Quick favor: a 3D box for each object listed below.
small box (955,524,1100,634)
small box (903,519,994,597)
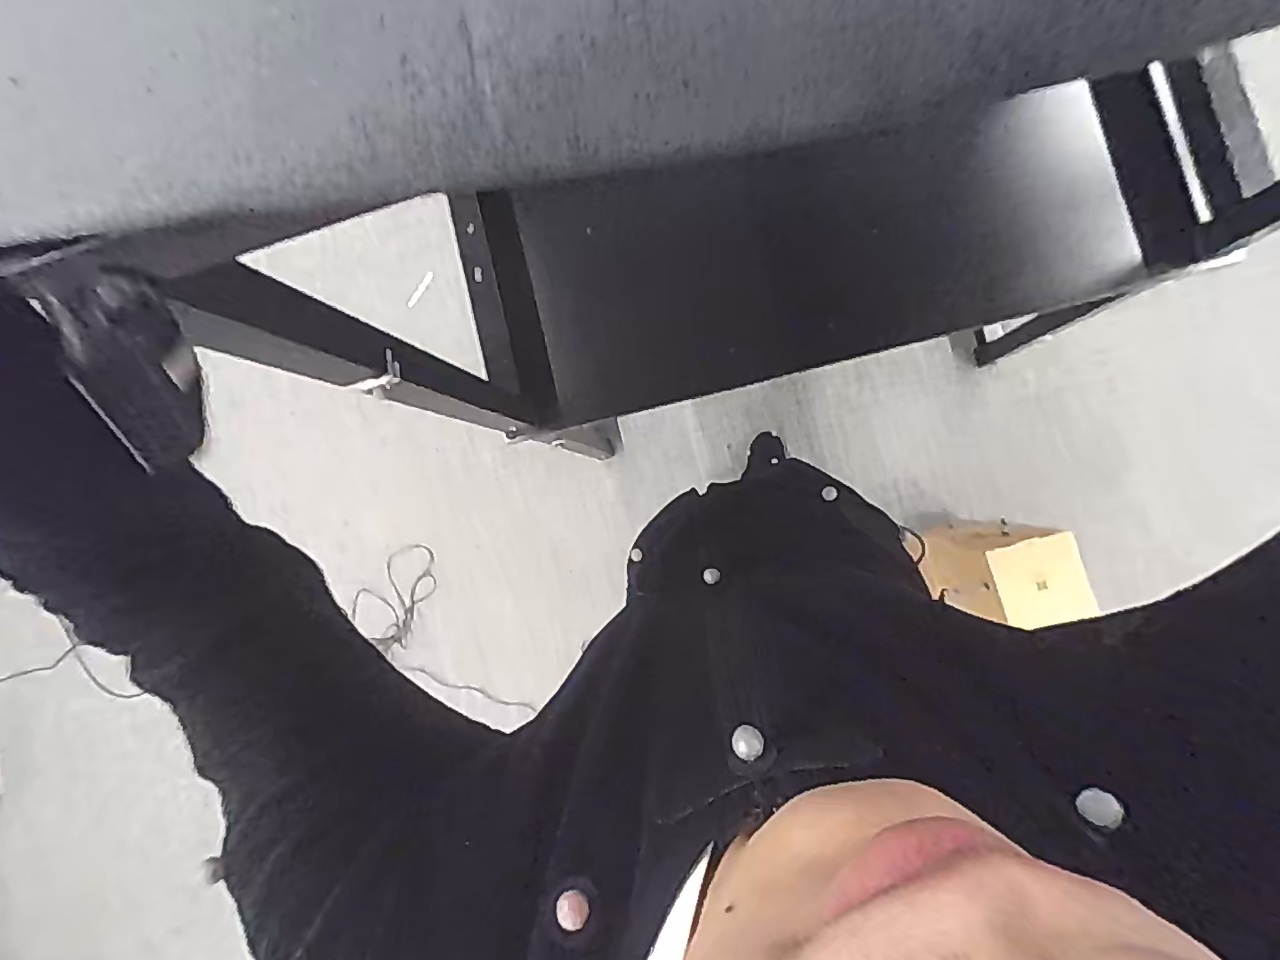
[{"bbox_3d":[0.801,0.200,1.138,0.168,0.176,0.179,-17,86,8],"label":"small box"},{"bbox_3d":[0.844,0.204,1.462,0.179,0.176,0.168,-15,86,8],"label":"small box"}]
